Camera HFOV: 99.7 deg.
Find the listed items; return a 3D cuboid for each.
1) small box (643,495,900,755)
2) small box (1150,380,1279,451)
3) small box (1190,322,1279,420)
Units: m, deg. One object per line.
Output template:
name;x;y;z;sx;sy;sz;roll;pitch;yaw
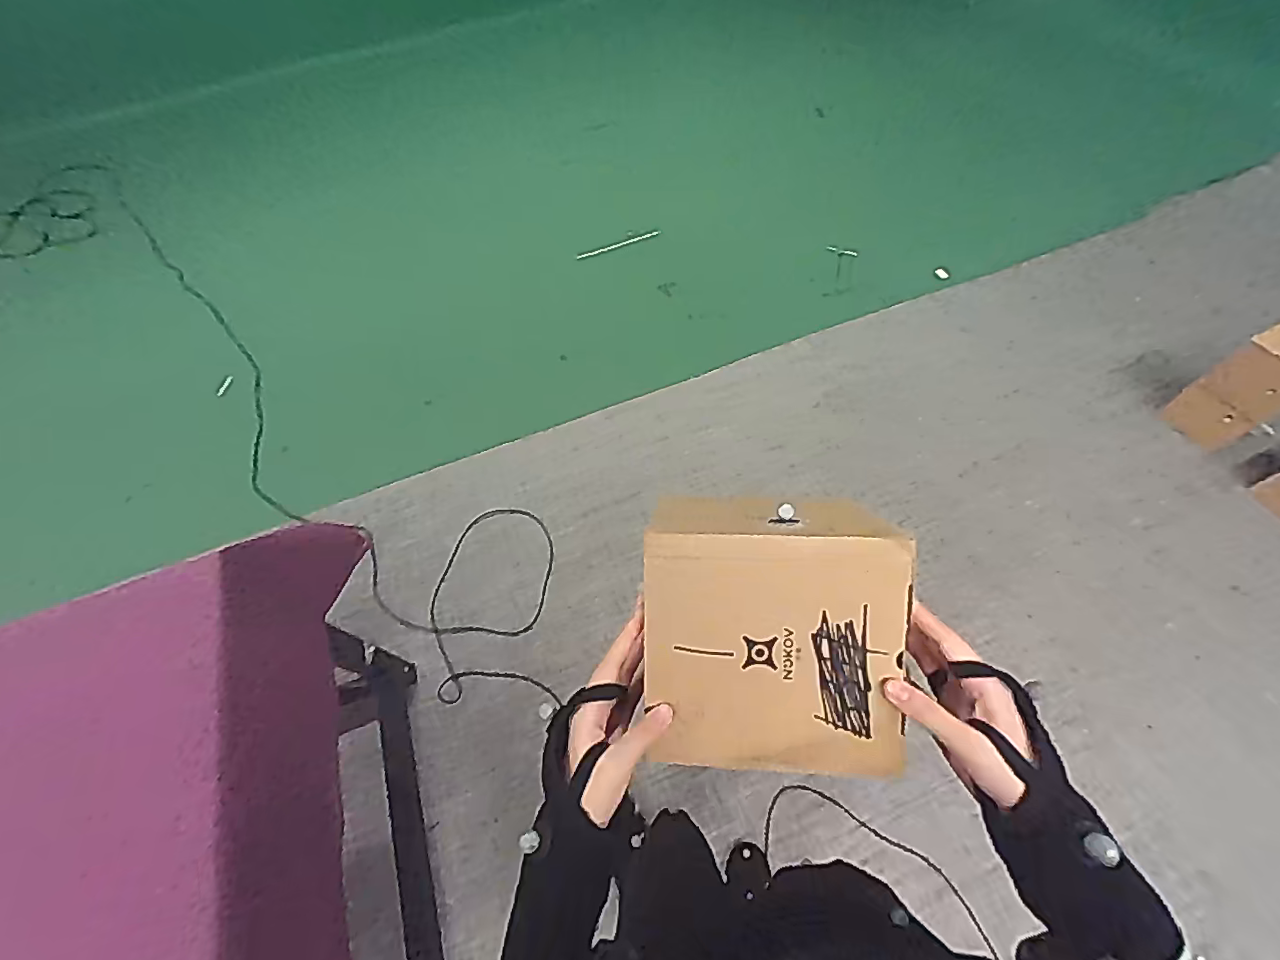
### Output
small box;0.098;0.103;0.458;0.179;0.176;0.168;0;95;8
small box;1.700;-0.207;1.602;0.168;0.176;0.179;-24;59;-10
small box;1.680;-0.285;1.460;0.168;0.176;0.179;-24;59;-10
